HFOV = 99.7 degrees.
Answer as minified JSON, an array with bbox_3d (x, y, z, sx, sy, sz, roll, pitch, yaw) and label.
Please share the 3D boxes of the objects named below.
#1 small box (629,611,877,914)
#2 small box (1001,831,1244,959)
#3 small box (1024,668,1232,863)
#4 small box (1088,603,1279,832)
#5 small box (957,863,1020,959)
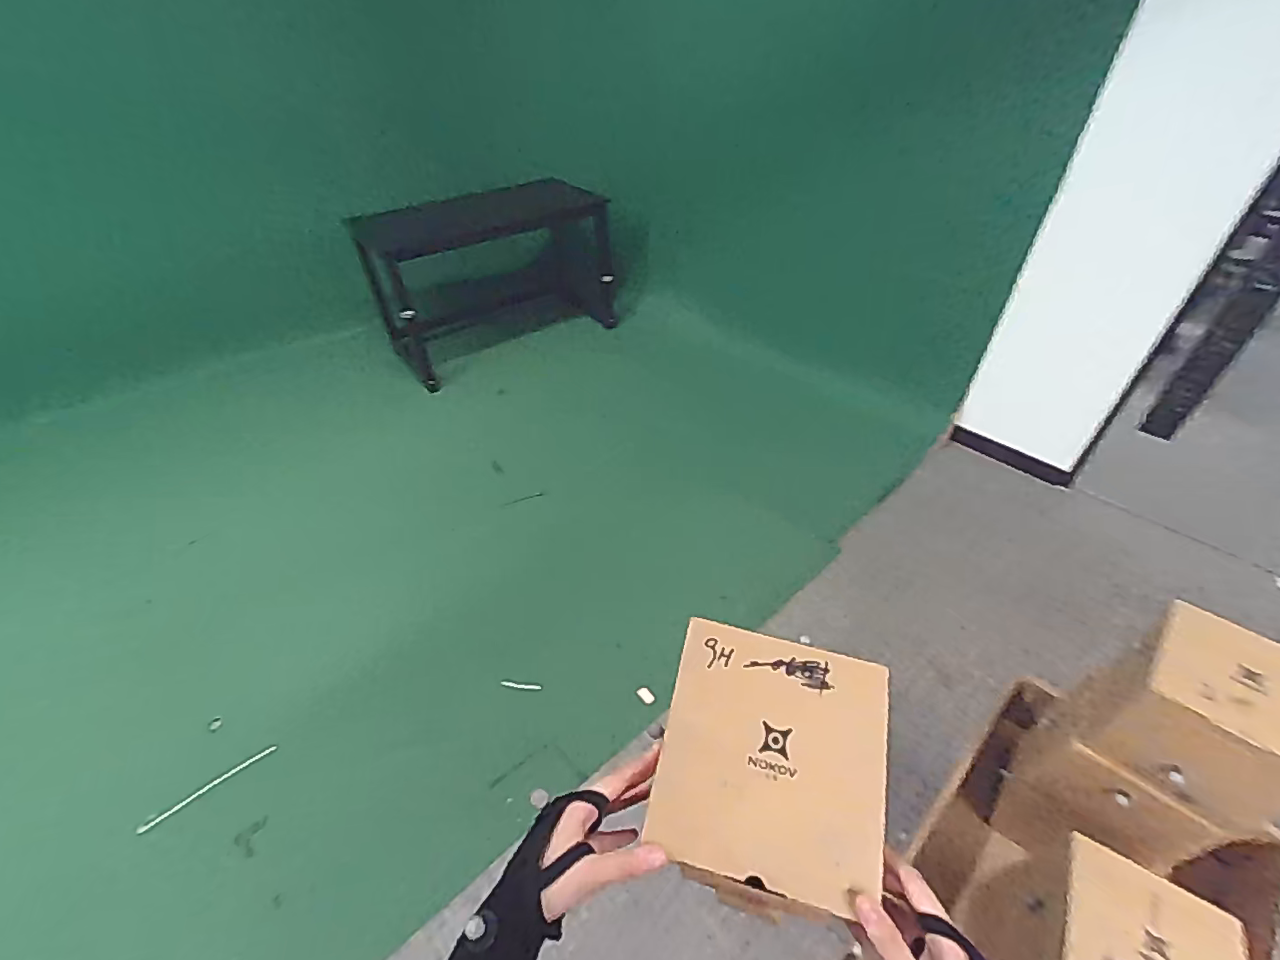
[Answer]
[{"bbox_3d":[0.096,0.241,0.488,0.168,0.176,0.179,13,64,8],"label":"small box"},{"bbox_3d":[0.562,0.577,0.646,0.168,0.176,0.179,24,47,25],"label":"small box"},{"bbox_3d":[0.722,0.427,0.805,0.179,0.176,0.168,30,51,32],"label":"small box"},{"bbox_3d":[0.728,0.302,0.696,0.179,0.176,0.168,-35,50,-30],"label":"small box"},{"bbox_3d":[0.567,0.697,0.758,0.168,0.176,0.179,24,48,26],"label":"small box"}]
